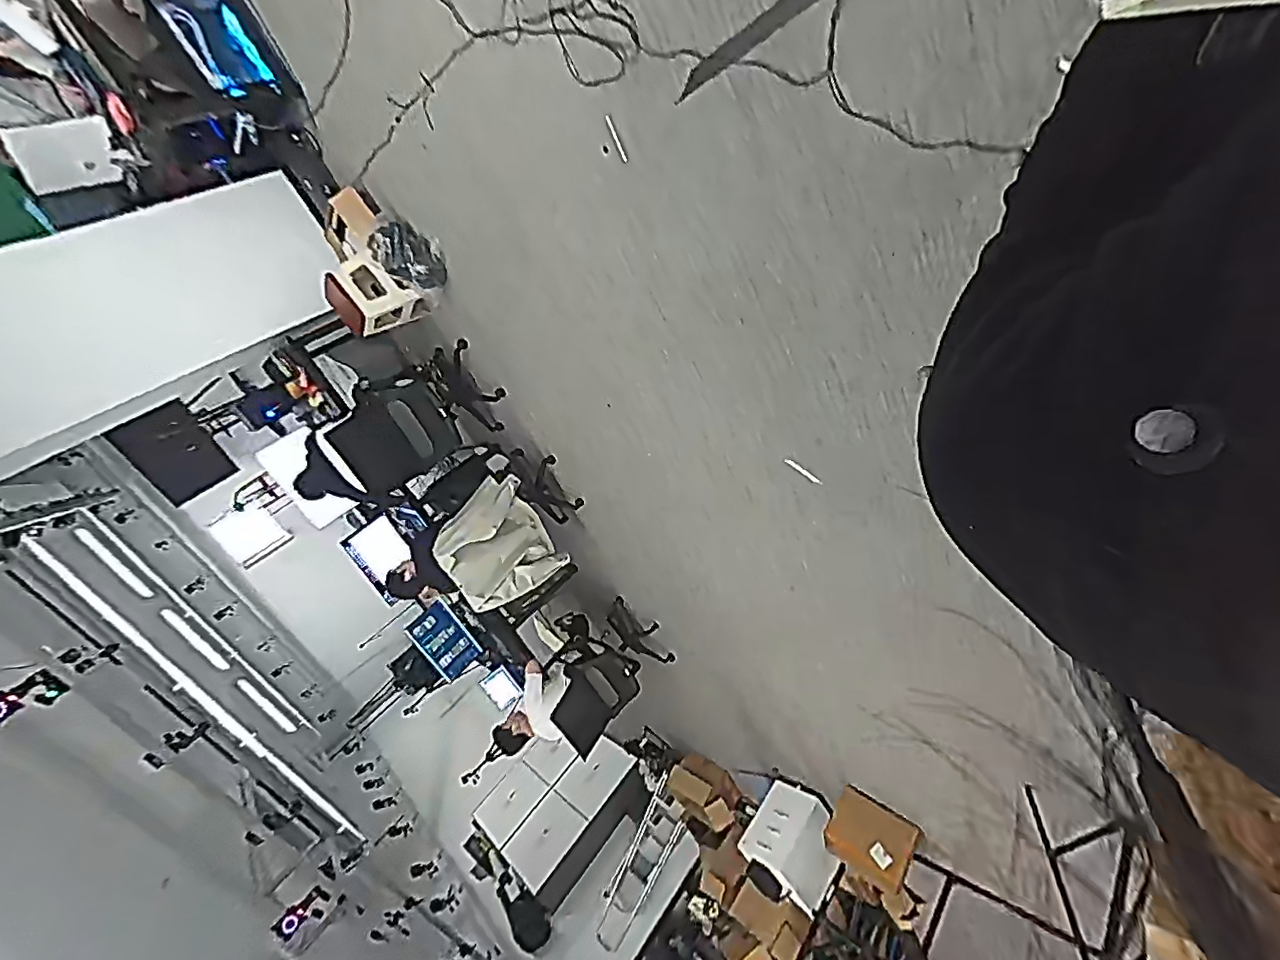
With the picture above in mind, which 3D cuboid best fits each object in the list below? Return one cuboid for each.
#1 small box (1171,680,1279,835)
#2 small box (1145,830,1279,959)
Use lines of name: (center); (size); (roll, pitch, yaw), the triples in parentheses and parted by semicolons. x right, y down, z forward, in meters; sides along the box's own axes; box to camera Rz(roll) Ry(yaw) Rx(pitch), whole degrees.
small box: (1.129, 0.518, 1.017); (0.168, 0.176, 0.179); (2, 125, 51)
small box: (0.916, 0.702, 0.848); (0.168, 0.176, 0.179); (5, 128, 50)
